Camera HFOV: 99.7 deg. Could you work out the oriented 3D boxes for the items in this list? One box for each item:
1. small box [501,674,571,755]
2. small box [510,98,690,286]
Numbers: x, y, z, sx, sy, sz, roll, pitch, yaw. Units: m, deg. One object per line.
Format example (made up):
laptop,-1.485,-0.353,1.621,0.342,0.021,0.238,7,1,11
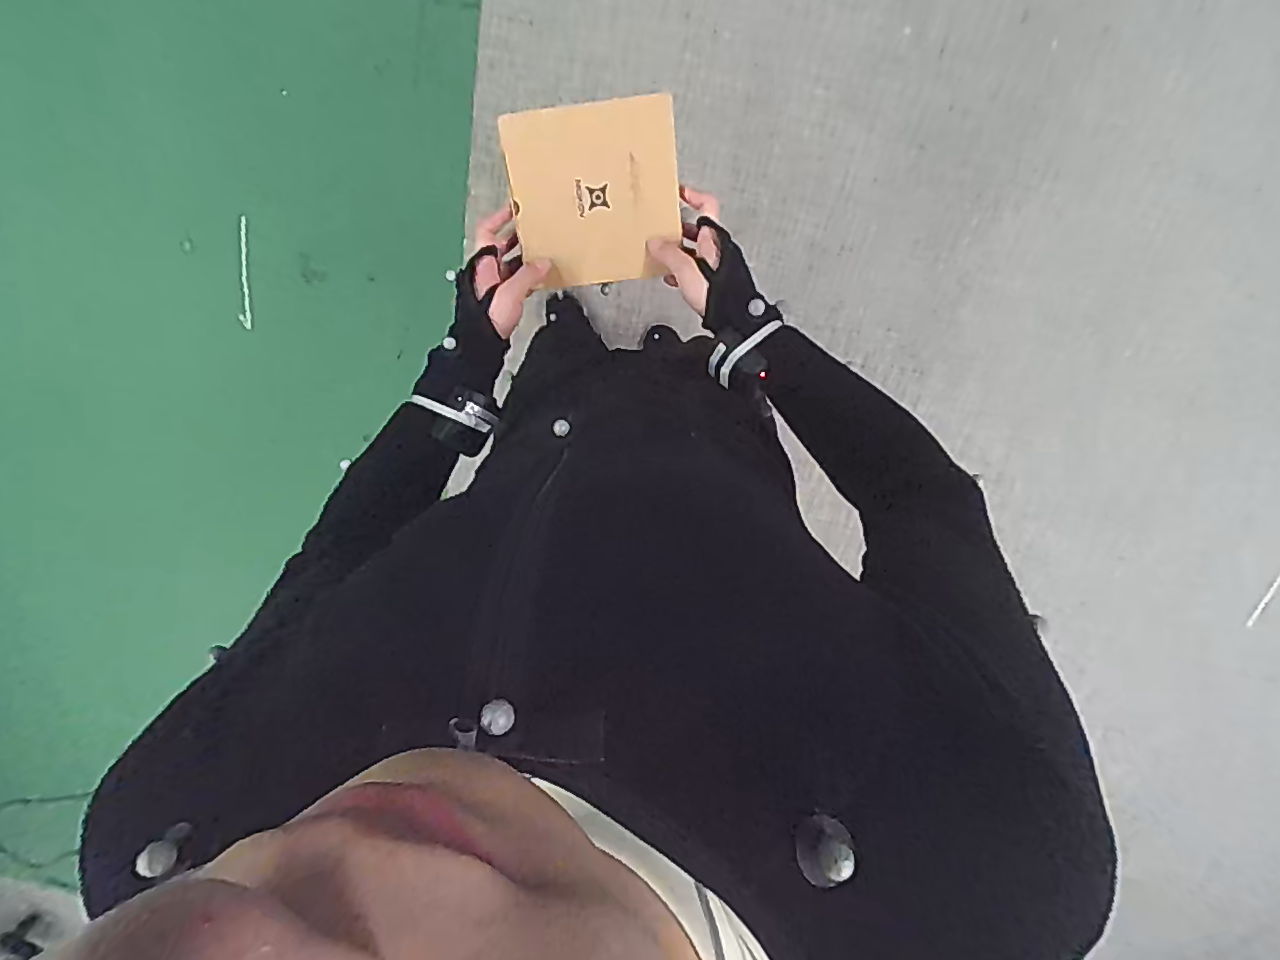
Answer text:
small box,-0.325,0.724,1.713,0.168,0.176,0.179,13,110,1
small box,-0.034,-0.319,0.630,0.179,0.176,0.168,-3,112,4
